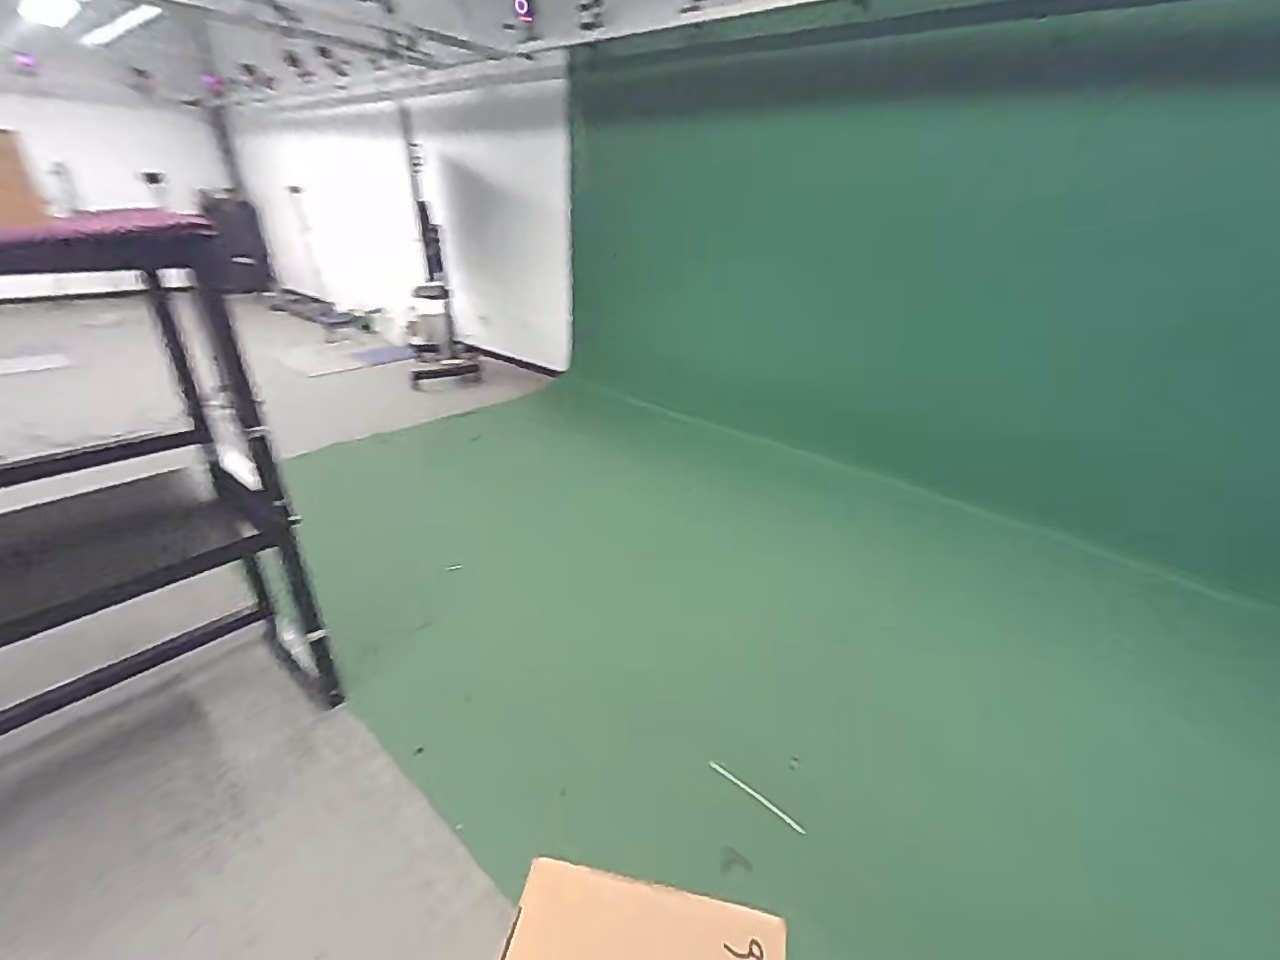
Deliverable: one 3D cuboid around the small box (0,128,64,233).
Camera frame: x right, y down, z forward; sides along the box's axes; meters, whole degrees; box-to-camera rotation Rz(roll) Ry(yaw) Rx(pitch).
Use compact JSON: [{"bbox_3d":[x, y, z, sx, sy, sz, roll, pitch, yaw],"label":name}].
[{"bbox_3d":[-1.244,-0.558,1.012,0.168,0.176,0.179,22,33,36],"label":"small box"}]
